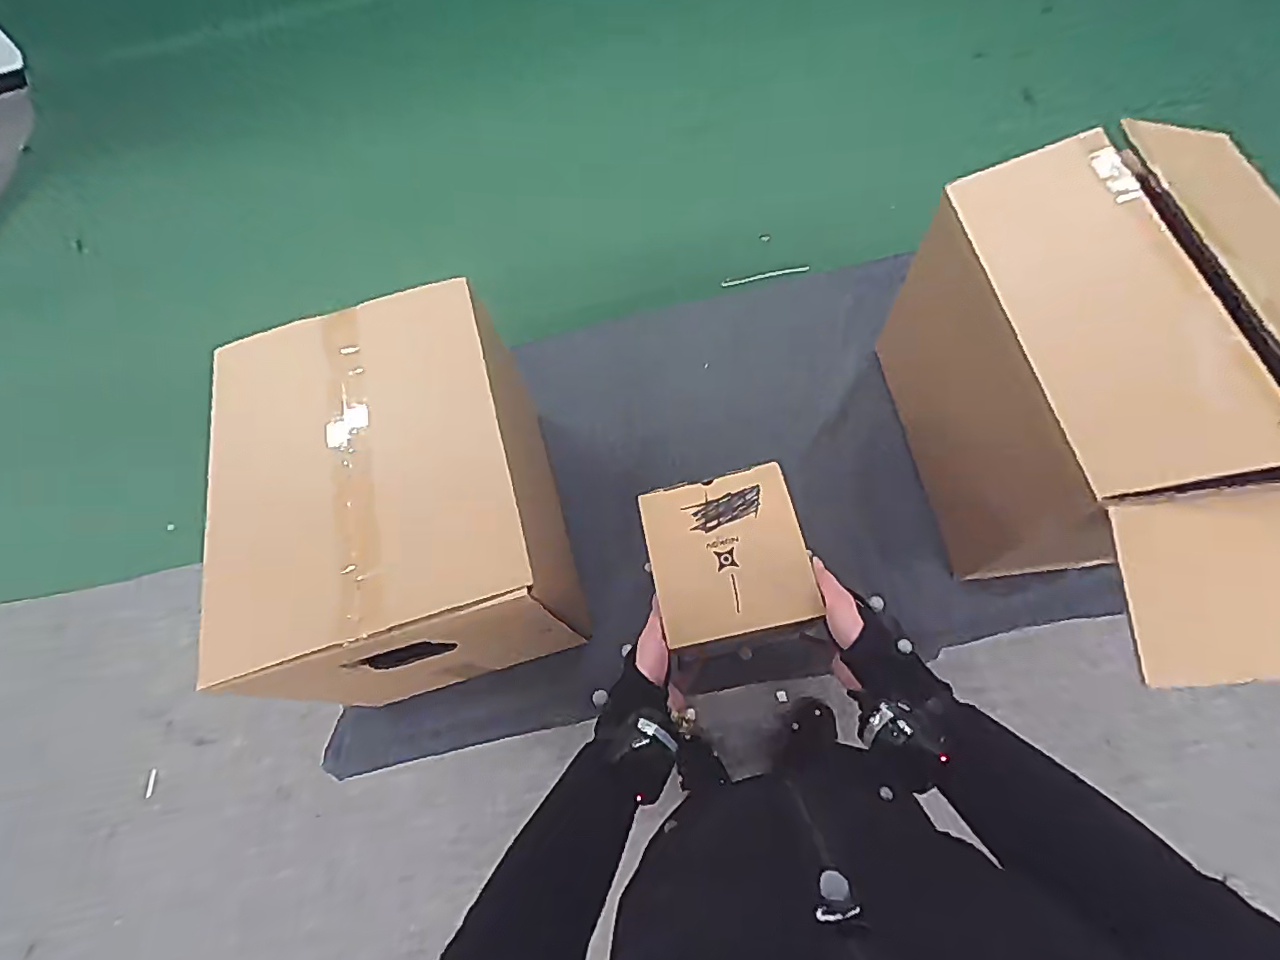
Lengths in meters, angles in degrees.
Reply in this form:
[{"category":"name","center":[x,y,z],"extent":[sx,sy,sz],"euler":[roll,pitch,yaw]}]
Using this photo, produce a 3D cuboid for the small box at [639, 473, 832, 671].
[{"category":"small box","center":[0.105,0.116,0.626],"extent":[0.168,0.176,0.179],"euler":[-14,68,6]}]
